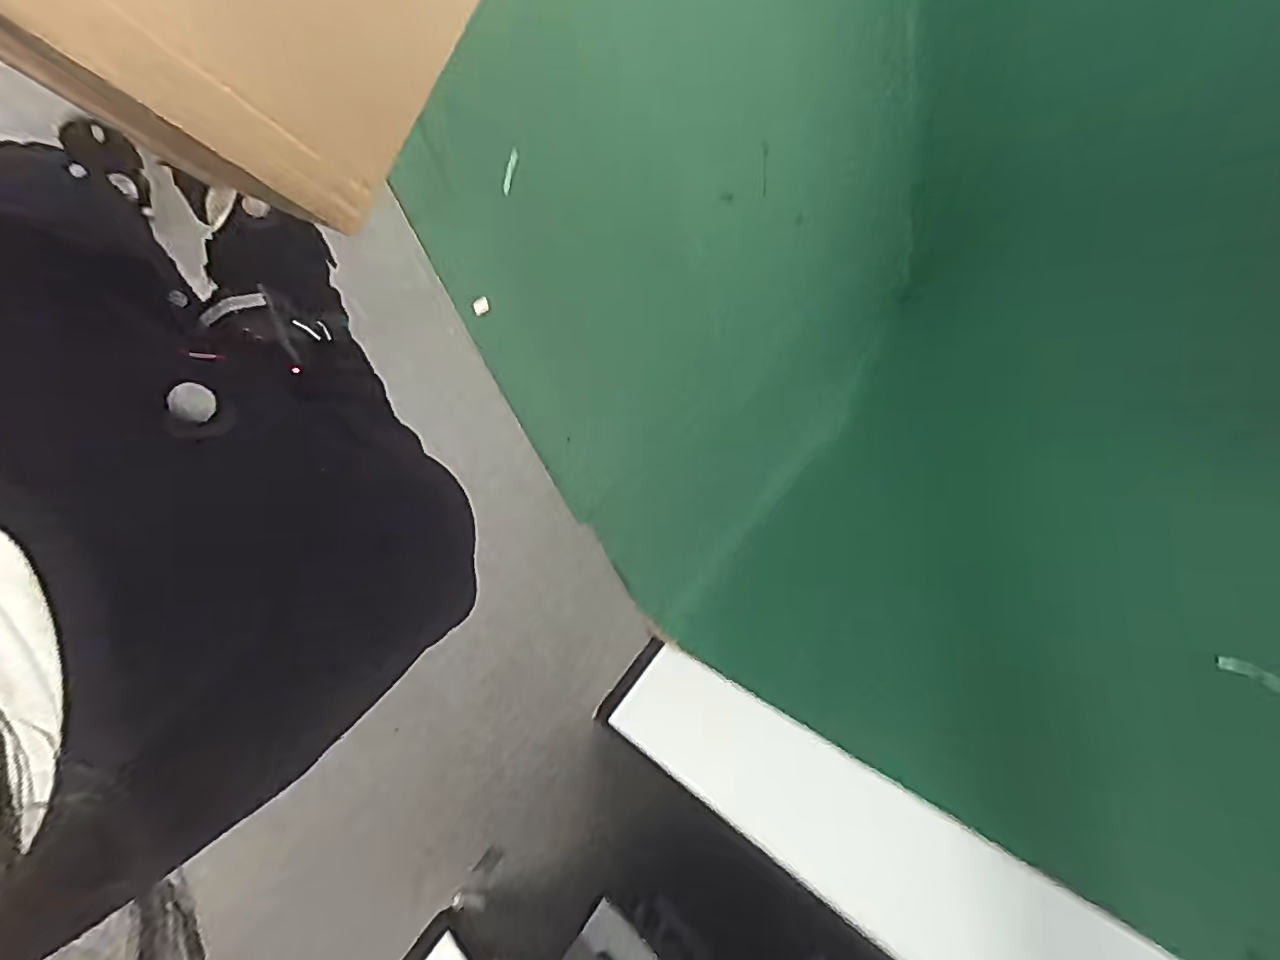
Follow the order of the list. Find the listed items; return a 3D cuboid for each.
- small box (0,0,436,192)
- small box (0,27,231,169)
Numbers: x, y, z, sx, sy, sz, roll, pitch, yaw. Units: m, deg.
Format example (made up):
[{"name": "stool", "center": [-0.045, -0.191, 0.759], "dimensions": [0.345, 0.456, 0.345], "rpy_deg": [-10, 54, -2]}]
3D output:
[{"name": "small box", "center": [-0.176, -0.229, 0.176], "dimensions": [0.179, 0.176, 0.168], "rpy_deg": [24, 97, -53]}, {"name": "small box", "center": [-0.277, -0.292, 0.263], "dimensions": [0.168, 0.176, 0.179], "rpy_deg": [24, 97, -53]}]
